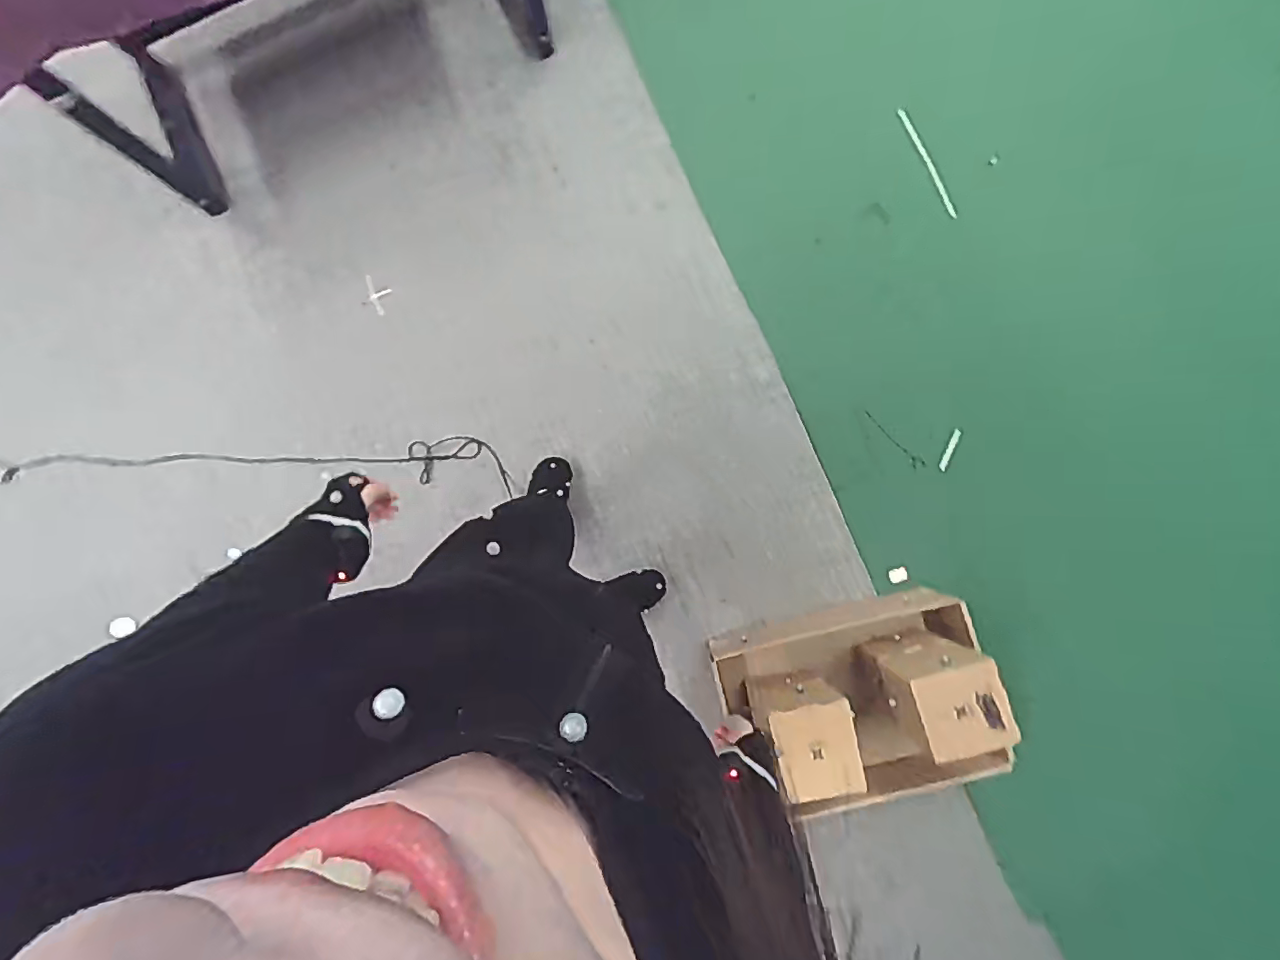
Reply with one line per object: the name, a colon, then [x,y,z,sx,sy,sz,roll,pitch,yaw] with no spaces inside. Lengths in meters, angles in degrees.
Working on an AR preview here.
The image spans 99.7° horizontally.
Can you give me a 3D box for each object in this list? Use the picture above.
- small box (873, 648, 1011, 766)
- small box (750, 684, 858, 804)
small box: [0.631,0.471,1.150,0.179,0.176,0.168,-15,84,2]
small box: [0.341,0.555,1.155,0.168,0.176,0.179,-9,82,0]
